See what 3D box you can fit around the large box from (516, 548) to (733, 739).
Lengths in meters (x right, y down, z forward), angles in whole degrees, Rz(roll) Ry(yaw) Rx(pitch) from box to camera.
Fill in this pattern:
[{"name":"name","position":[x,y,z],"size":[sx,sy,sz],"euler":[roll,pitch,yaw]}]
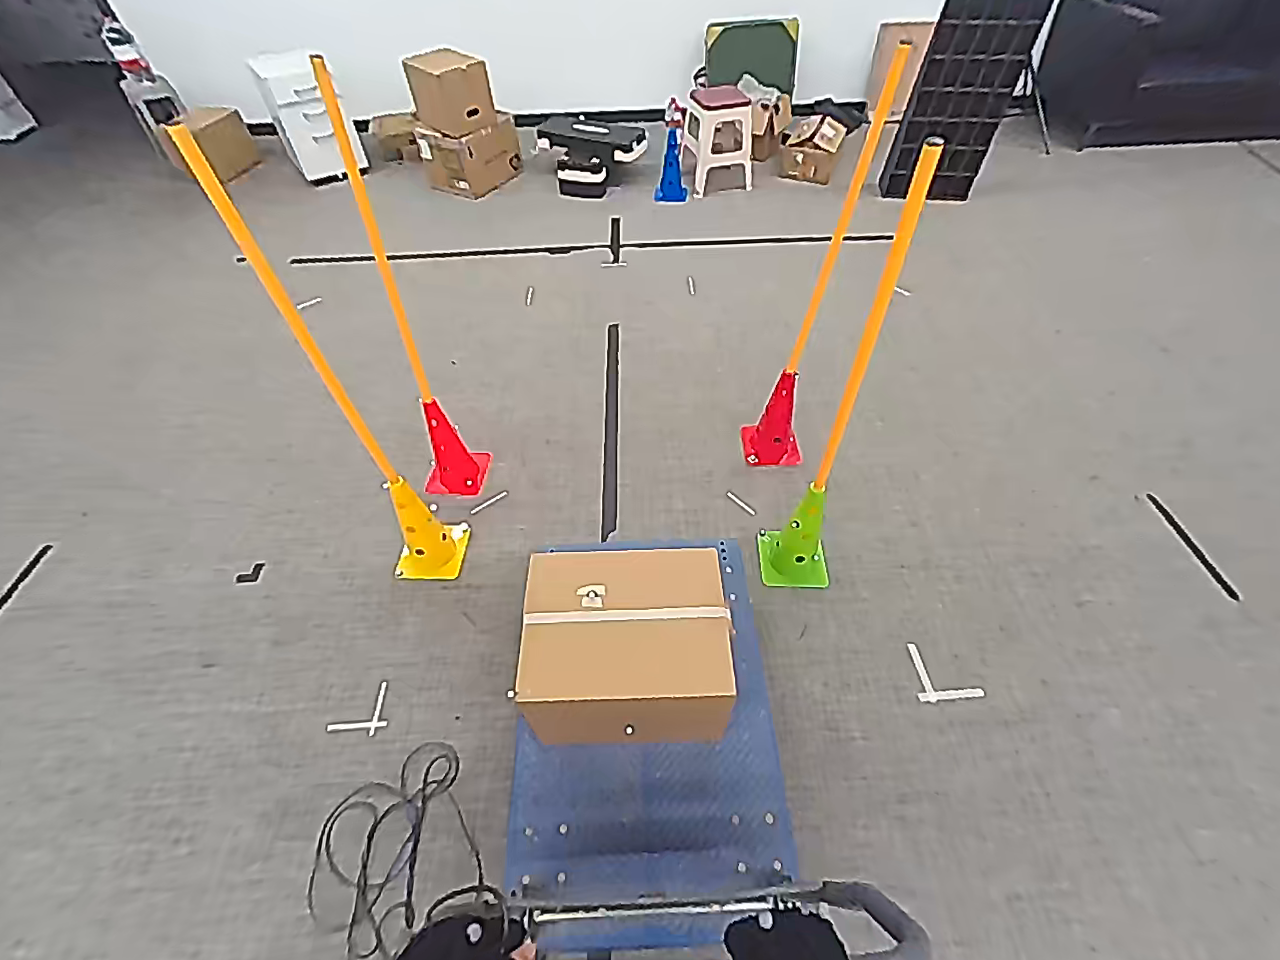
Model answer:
[{"name":"large box","position":[-0.026,0.367,1.190],"size":[0.408,0.320,0.320],"euler":[-2,51,1]}]

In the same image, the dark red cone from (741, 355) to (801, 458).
[{"name":"dark red cone","position":[0.482,-0.257,1.857],"size":[0.201,0.394,0.202],"euler":[0,51,-2]}]

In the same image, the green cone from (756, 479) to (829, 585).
[{"name":"green cone","position":[0.473,0.129,1.563],"size":[0.202,0.368,0.200],"euler":[2,51,1]}]

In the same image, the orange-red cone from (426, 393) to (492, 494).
[{"name":"orange-red cone","position":[-0.646,-0.146,1.811],"size":[0.198,0.360,0.199],"euler":[5,50,4]}]
